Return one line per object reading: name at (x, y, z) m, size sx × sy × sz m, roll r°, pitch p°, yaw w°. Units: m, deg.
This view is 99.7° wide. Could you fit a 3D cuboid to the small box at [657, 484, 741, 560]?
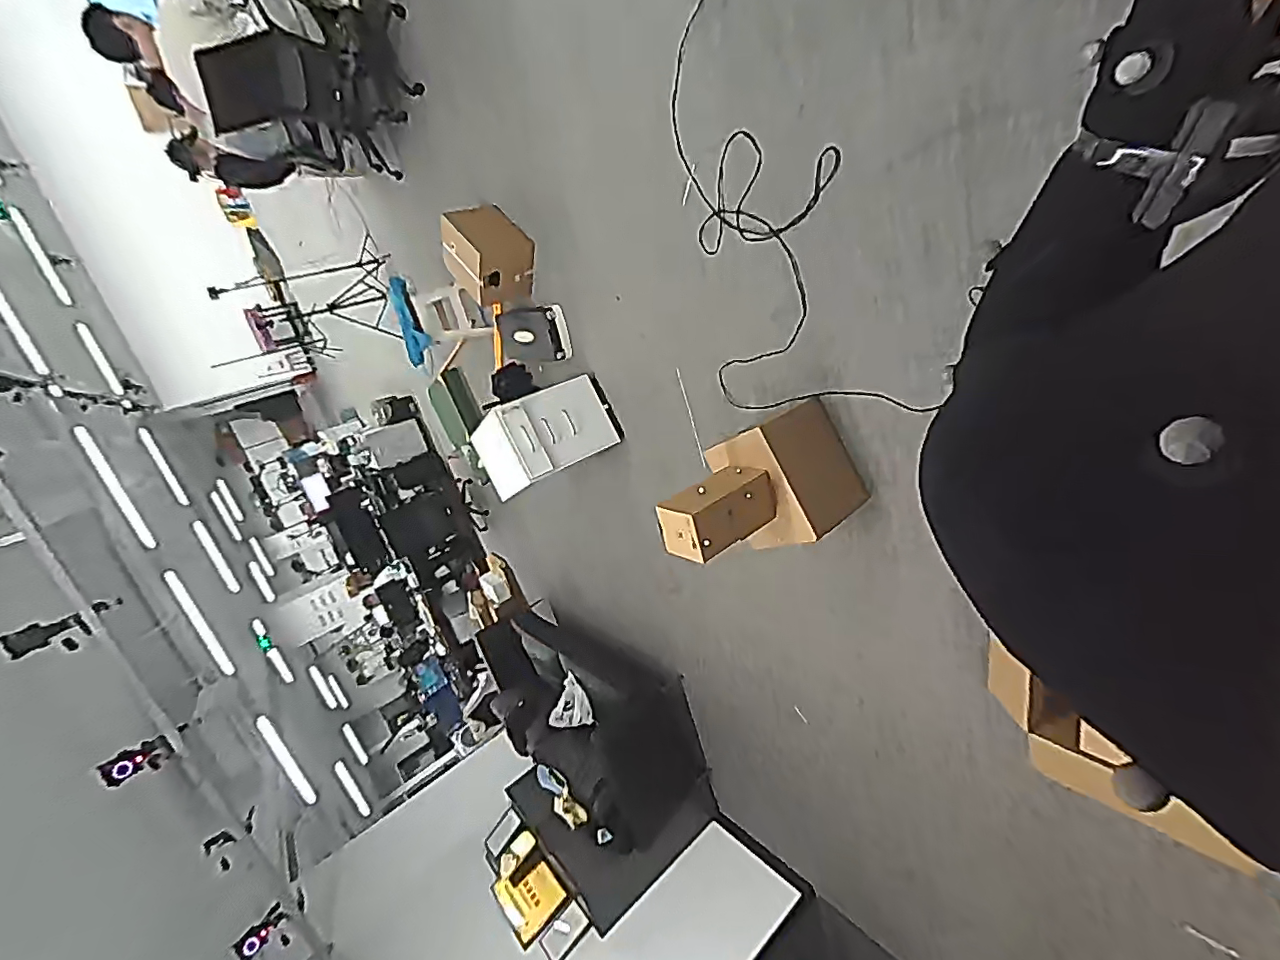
small box at (0.186, 0.123, 1.688) m, size 0.179 × 0.176 × 0.168 m, roll 12°, pitch 124°, yaw 54°
